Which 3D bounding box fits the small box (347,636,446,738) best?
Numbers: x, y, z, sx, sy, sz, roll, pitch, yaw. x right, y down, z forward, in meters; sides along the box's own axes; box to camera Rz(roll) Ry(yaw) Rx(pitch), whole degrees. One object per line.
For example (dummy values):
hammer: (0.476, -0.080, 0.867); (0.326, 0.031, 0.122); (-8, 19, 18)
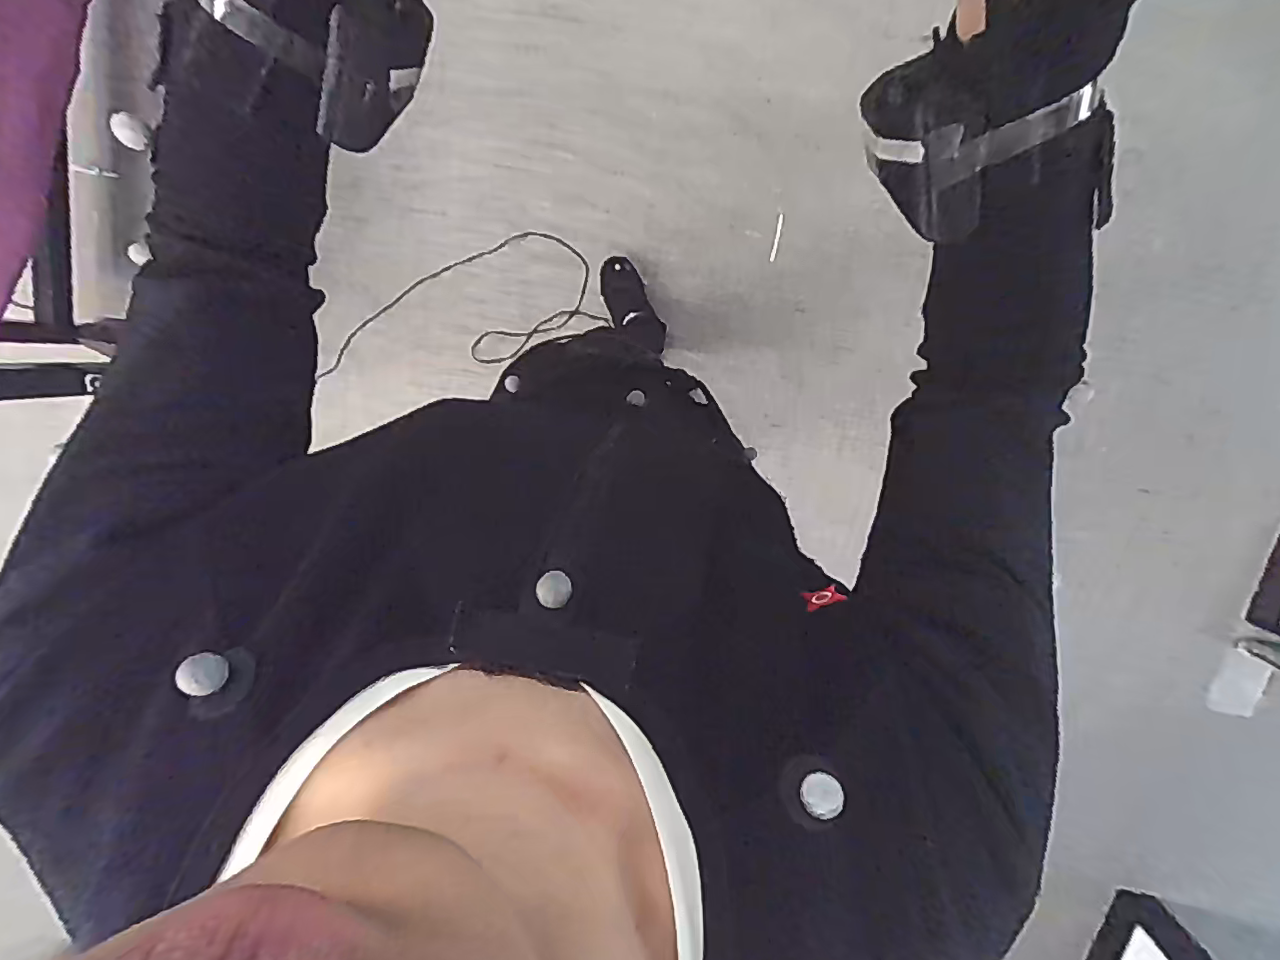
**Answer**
small box: (-0.613, 0.519, 1.378); (0.179, 0.176, 0.168); (10, 103, 2)
